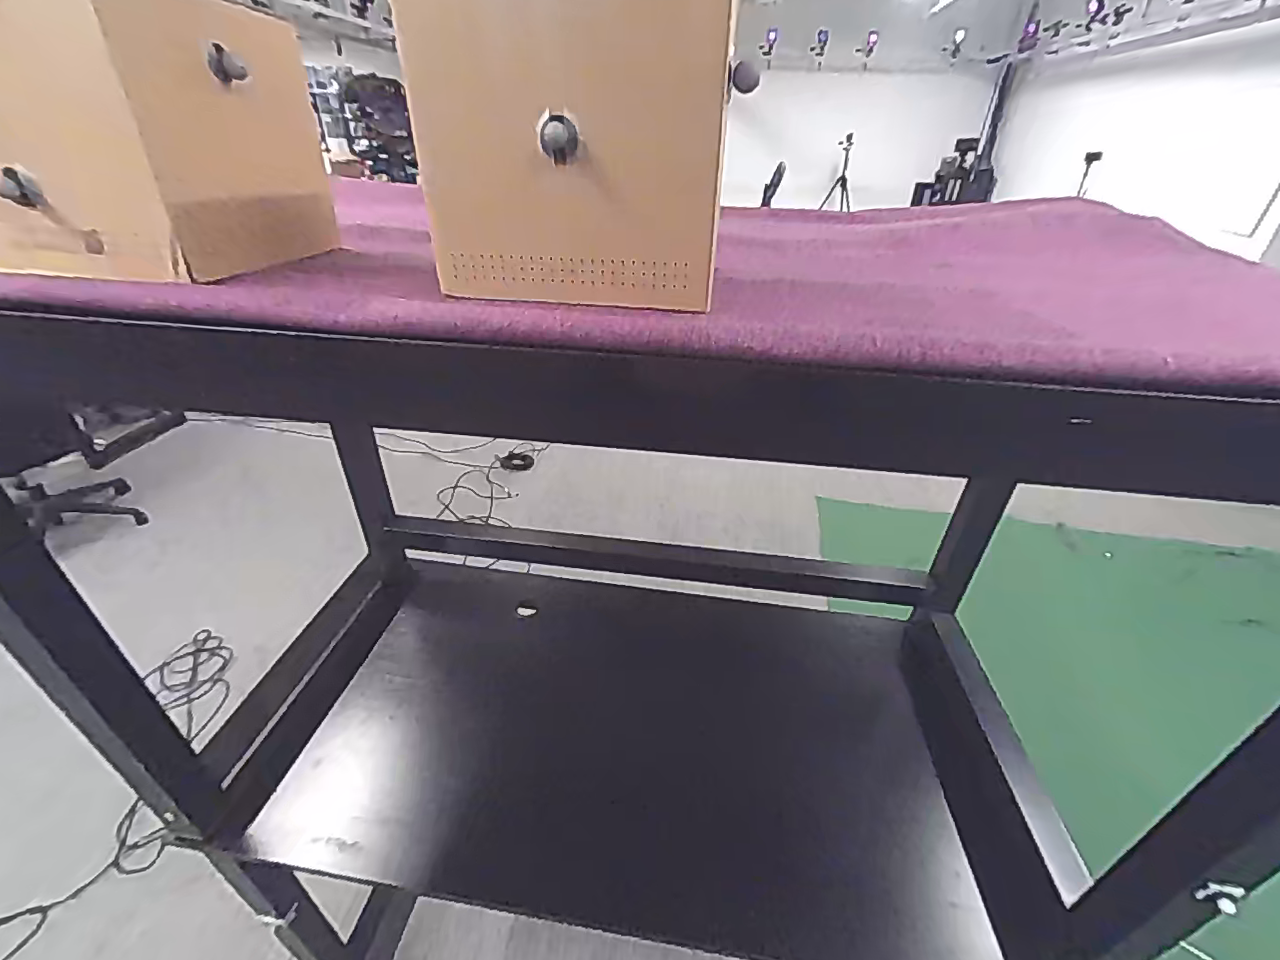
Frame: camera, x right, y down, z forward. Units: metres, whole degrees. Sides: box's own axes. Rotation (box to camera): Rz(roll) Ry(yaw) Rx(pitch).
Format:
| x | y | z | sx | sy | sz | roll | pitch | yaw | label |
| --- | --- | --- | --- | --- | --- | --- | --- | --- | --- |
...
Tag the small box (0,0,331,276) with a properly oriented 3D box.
| x | y | z | sx | sy | sz | roll | pitch | yaw | label |
| --- | --- | --- | --- | --- | --- | --- | --- | --- | --- |
| -0.354 | -0.256 | 0.390 | 0.168 | 0.176 | 0.179 | 5 | 32 | 3 | small box |
